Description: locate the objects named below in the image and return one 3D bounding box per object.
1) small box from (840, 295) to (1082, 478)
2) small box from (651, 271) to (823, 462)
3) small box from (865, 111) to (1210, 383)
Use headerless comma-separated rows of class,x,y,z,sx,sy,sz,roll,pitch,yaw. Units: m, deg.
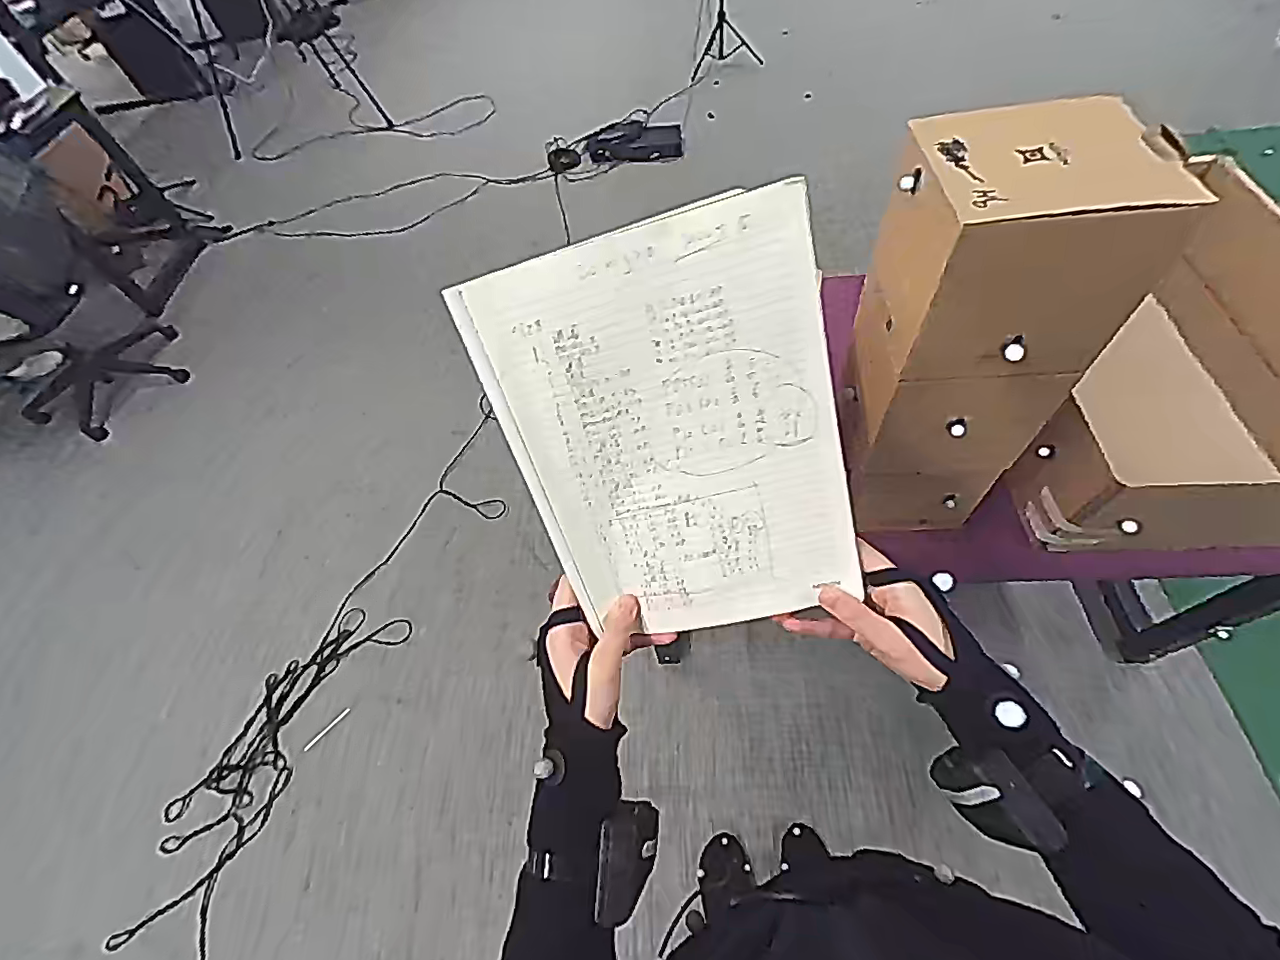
small box,0.352,-0.115,0.636,0.179,0.176,0.168,-2,55,7
small box,0.125,-0.139,0.689,0.179,0.176,0.168,8,58,14
small box,0.331,-0.207,0.501,0.179,0.176,0.168,-2,55,6
